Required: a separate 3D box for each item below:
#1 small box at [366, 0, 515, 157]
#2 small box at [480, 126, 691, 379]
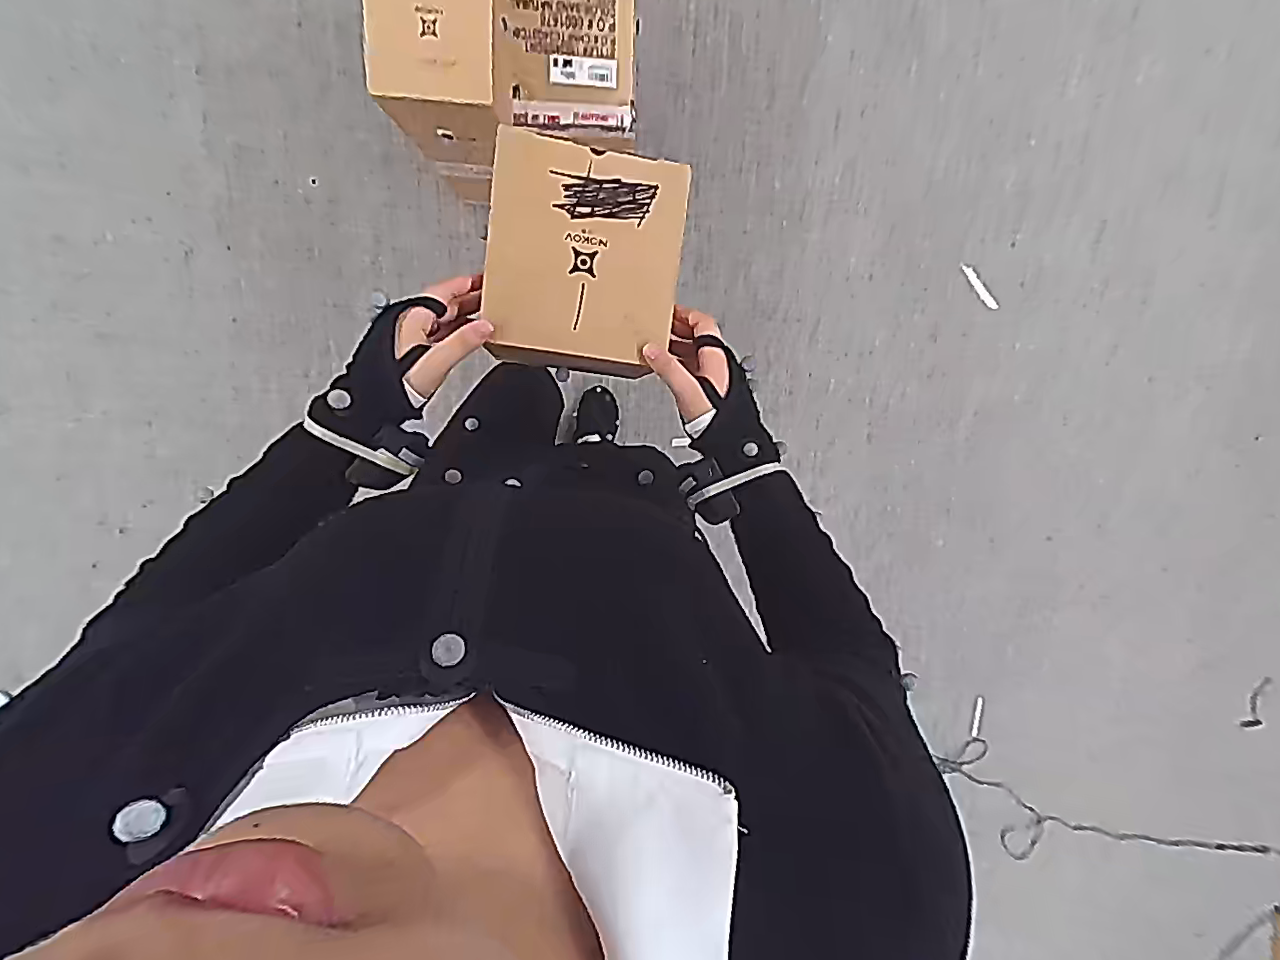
[{"bbox_3d":[-0.278,-0.598,0.782,0.168,0.176,0.179,2,104,-4],"label":"small box"},{"bbox_3d":[-0.059,-0.204,0.539,0.168,0.176,0.179,6,96,-10],"label":"small box"}]
